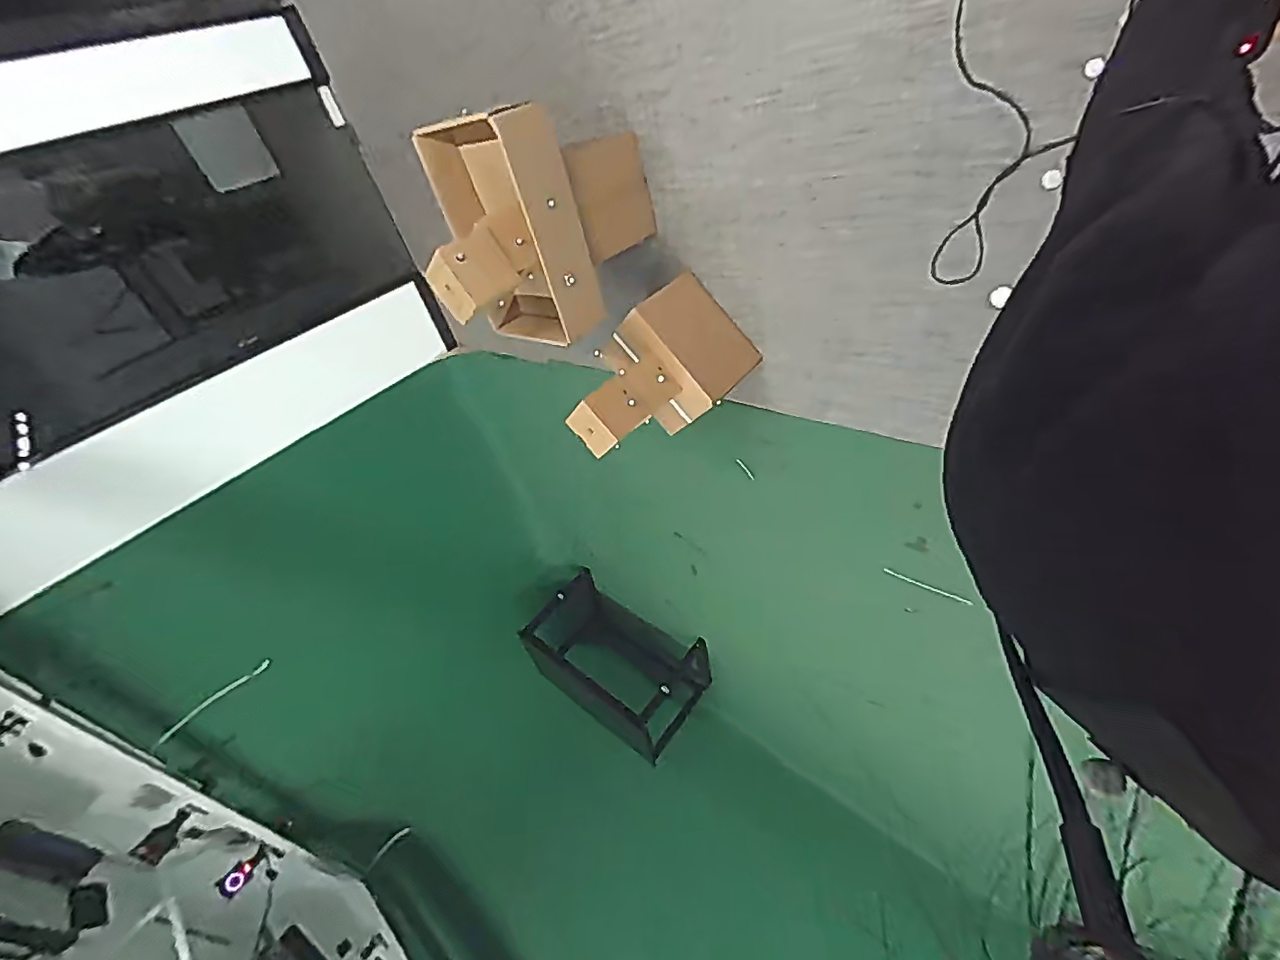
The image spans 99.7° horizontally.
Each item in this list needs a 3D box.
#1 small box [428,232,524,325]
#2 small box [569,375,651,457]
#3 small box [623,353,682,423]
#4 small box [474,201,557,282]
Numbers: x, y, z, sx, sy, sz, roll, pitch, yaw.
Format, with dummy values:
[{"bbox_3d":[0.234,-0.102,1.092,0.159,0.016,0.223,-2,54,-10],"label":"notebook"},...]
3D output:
[{"bbox_3d":[-0.468,-0.582,1.547,0.179,0.176,0.168,55,150,-14],"label":"small box"},{"bbox_3d":[-0.094,-0.204,1.727,0.168,0.176,0.179,49,150,-5],"label":"small box"},{"bbox_3d":[0.010,-0.295,1.813,0.168,0.176,0.179,51,150,-7],"label":"small box"},{"bbox_3d":[-0.381,-0.699,1.629,0.179,0.176,0.168,54,148,-13],"label":"small box"}]
